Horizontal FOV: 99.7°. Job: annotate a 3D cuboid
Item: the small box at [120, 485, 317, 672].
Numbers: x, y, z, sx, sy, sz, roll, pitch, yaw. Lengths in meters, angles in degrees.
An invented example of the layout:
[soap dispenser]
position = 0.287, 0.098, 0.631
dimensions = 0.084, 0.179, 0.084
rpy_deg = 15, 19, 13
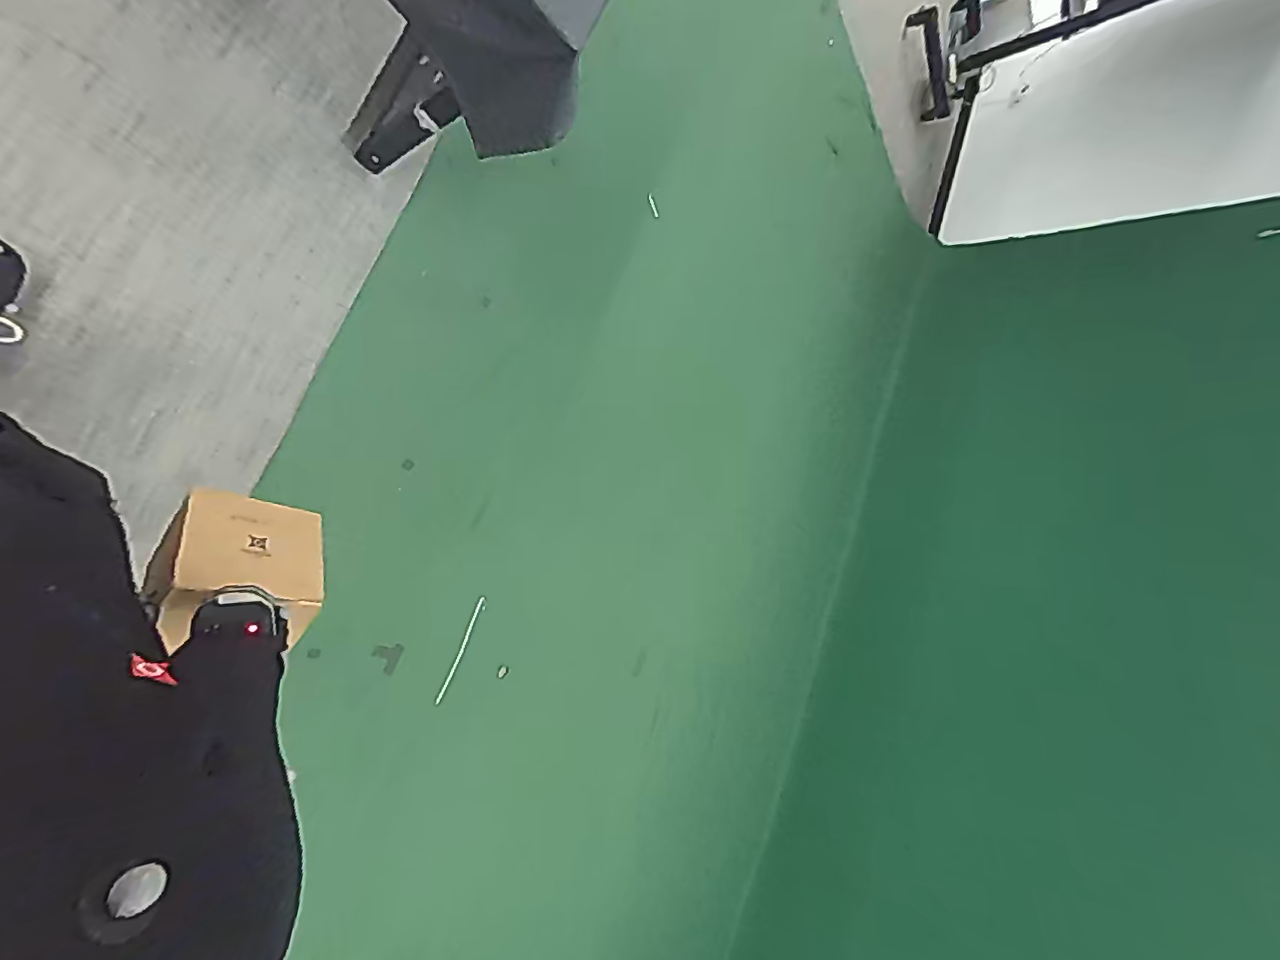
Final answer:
[small box]
position = -0.567, 0.141, 0.738
dimensions = 0.168, 0.179, 0.176
rpy_deg = 24, 115, -46
